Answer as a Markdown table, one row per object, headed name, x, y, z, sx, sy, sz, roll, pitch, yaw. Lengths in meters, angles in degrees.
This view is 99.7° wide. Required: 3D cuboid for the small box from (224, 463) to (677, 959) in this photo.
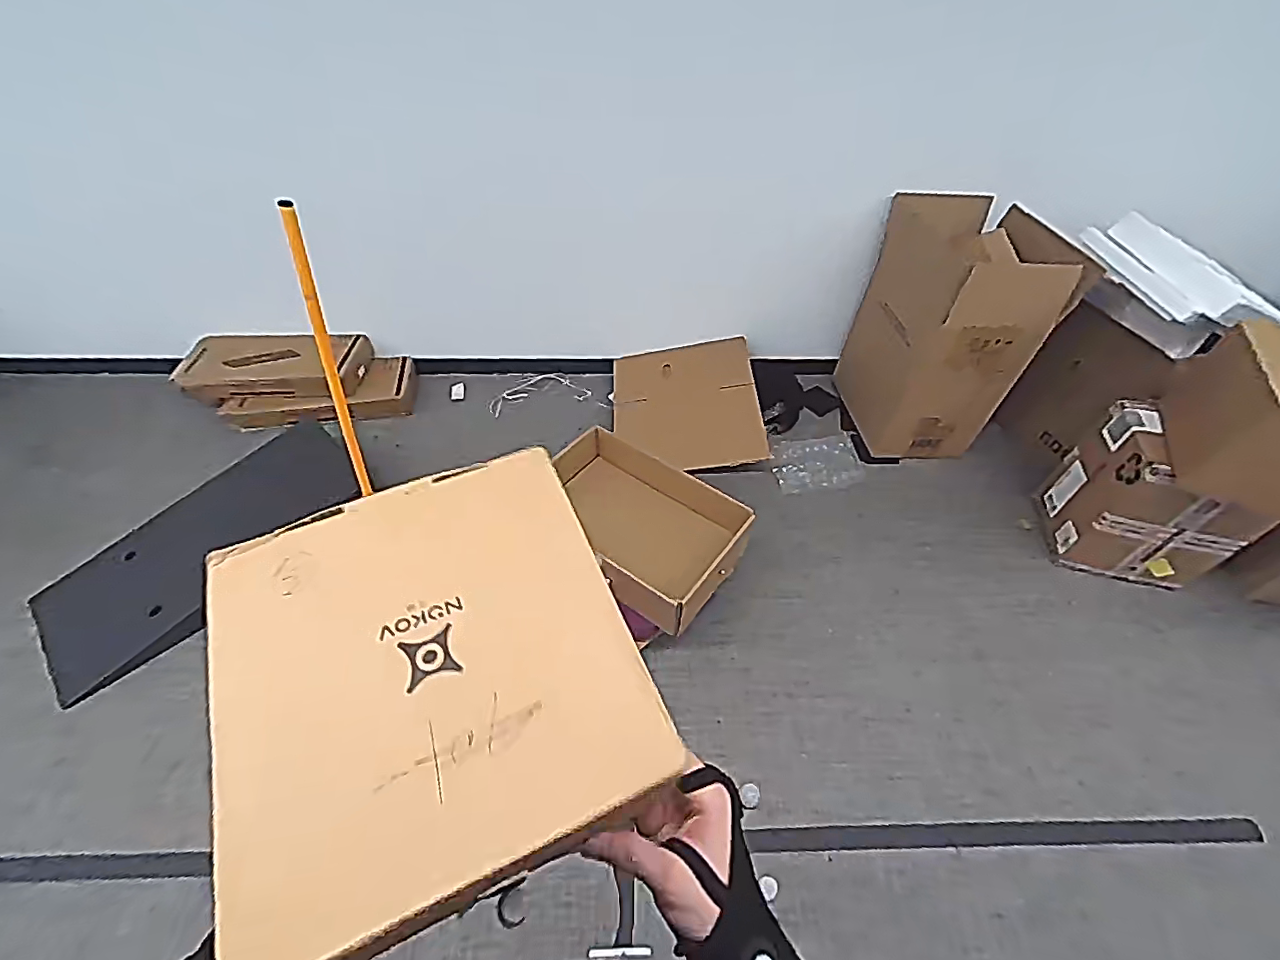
| name | x | y | z | sx | sy | sz | roll | pitch | yaw |
| --- | --- | --- | --- | --- | --- | --- | --- | --- | --- |
| small box | -0.096 | 0.126 | 0.307 | 0.168 | 0.176 | 0.179 | -21 | 58 | -16 |
